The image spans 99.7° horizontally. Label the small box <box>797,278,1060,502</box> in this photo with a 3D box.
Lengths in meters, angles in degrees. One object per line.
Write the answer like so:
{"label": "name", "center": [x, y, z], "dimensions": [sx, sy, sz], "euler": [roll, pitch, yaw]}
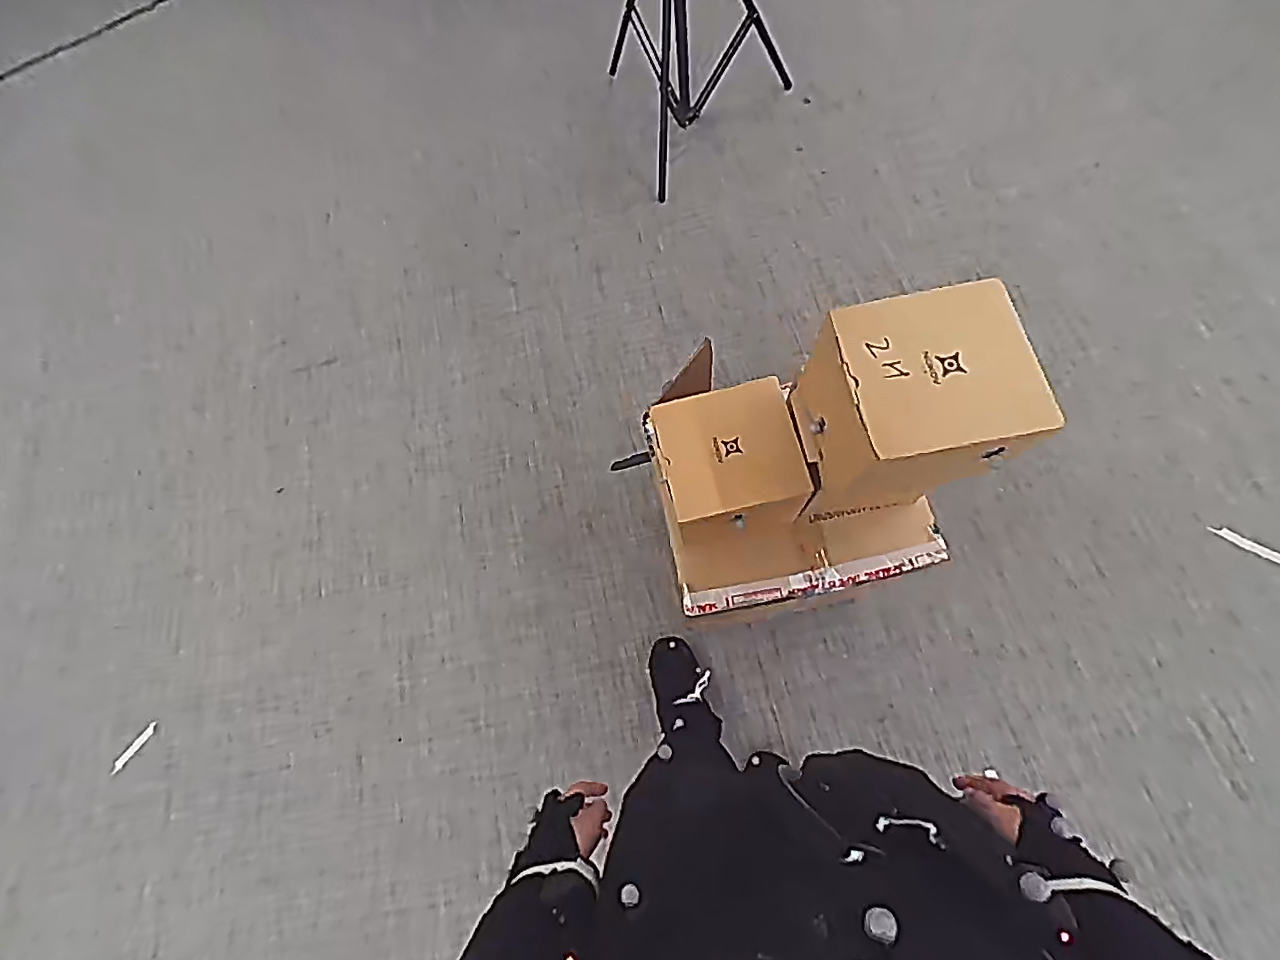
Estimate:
{"label": "small box", "center": [0.289, -0.085, 0.587], "dimensions": [0.179, 0.176, 0.168], "euler": [-11, 72, 2]}

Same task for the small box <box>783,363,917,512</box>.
{"label": "small box", "center": [0.304, -0.060, 0.751], "dimensions": [0.179, 0.176, 0.168], "euler": [-7, 72, 3]}
